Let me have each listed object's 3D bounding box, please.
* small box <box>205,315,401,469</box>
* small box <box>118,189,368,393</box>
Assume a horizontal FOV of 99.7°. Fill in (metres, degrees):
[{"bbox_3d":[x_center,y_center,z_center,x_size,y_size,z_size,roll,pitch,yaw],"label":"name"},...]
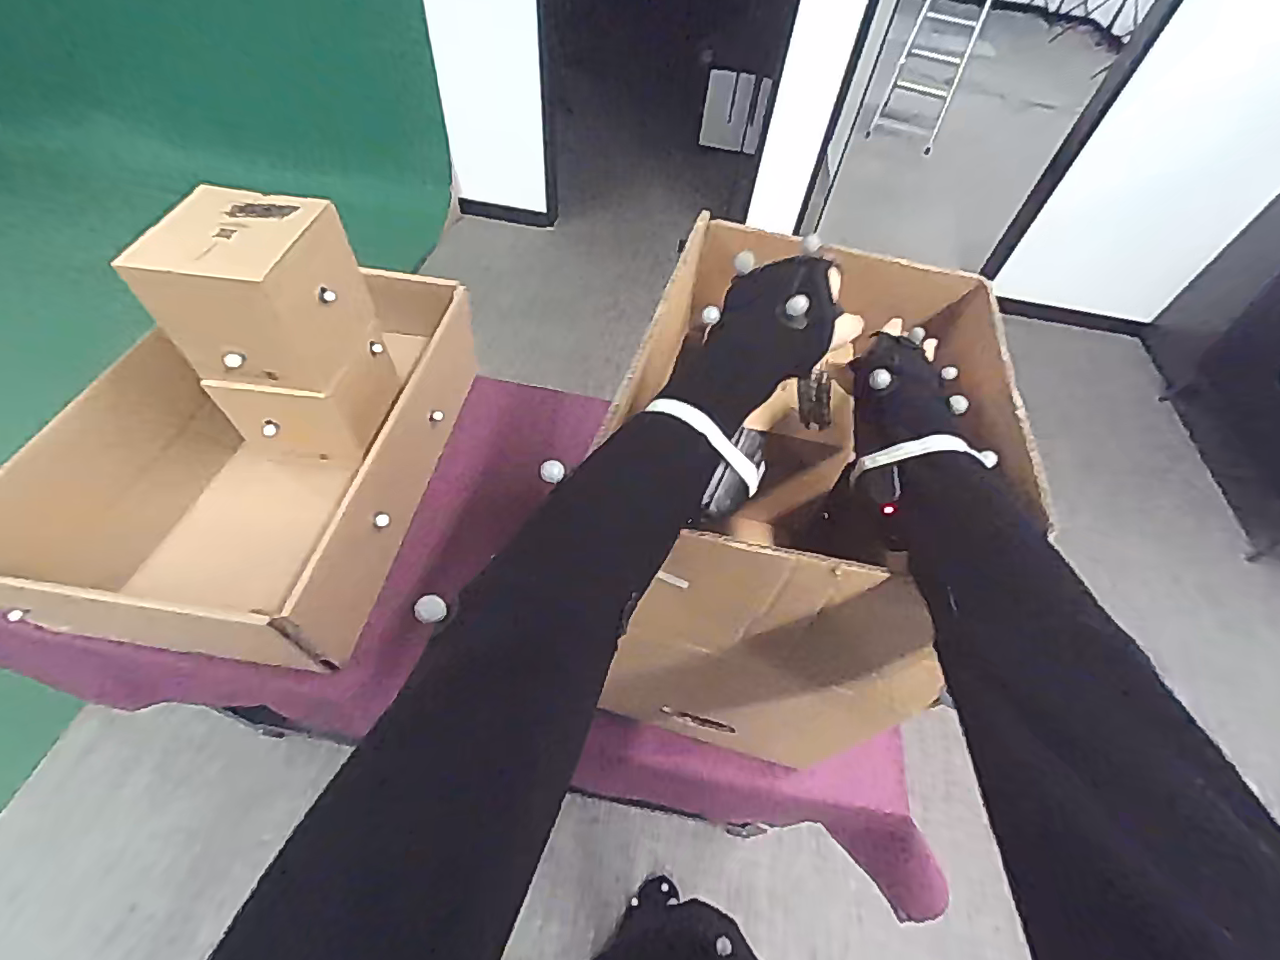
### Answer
[{"bbox_3d":[-0.488,-0.135,0.820,0.168,0.176,0.179,6,54,0],"label":"small box"},{"bbox_3d":[-0.477,-0.237,0.691,0.168,0.176,0.179,7,55,1],"label":"small box"}]
